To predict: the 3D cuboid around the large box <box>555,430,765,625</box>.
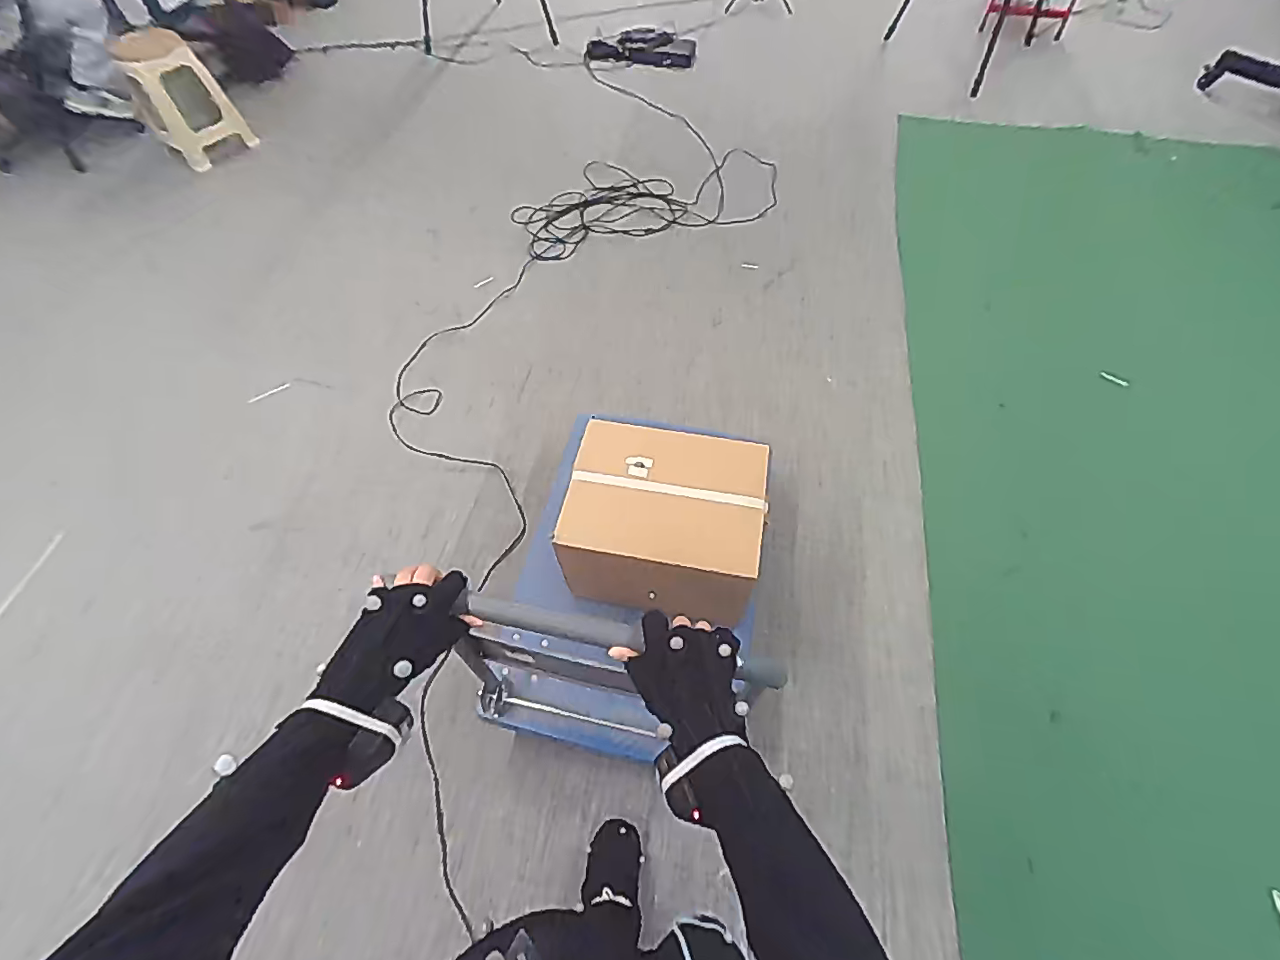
[{"bbox_3d":[0.060,0.117,1.252,0.408,0.320,0.320,8,58,9],"label":"large box"}]
